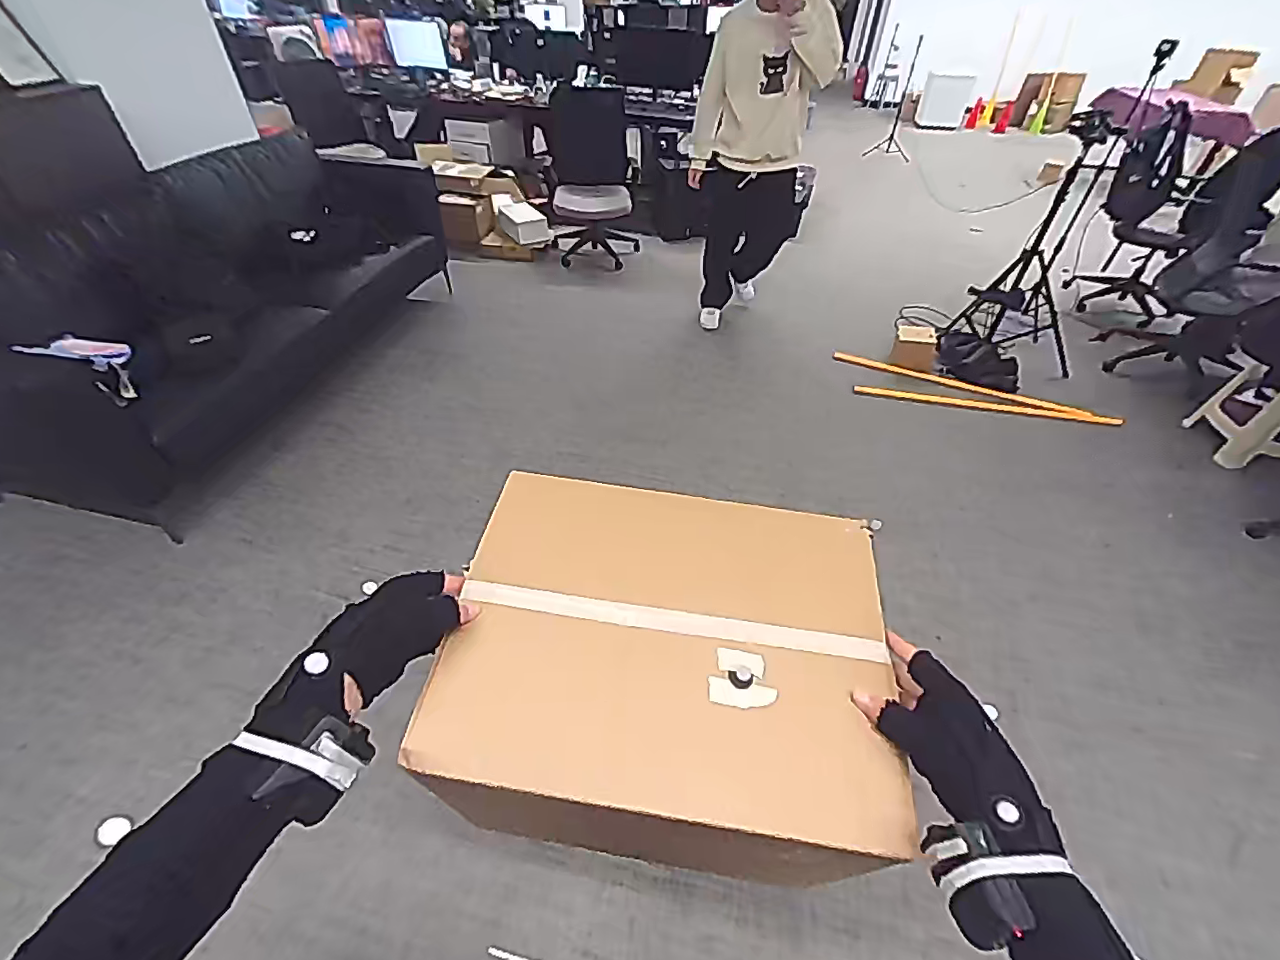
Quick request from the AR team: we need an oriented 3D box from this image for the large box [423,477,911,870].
[{"bbox_3d":[0.027,0.231,0.638,0.408,0.320,0.320,9,51,3],"label":"large box"}]
